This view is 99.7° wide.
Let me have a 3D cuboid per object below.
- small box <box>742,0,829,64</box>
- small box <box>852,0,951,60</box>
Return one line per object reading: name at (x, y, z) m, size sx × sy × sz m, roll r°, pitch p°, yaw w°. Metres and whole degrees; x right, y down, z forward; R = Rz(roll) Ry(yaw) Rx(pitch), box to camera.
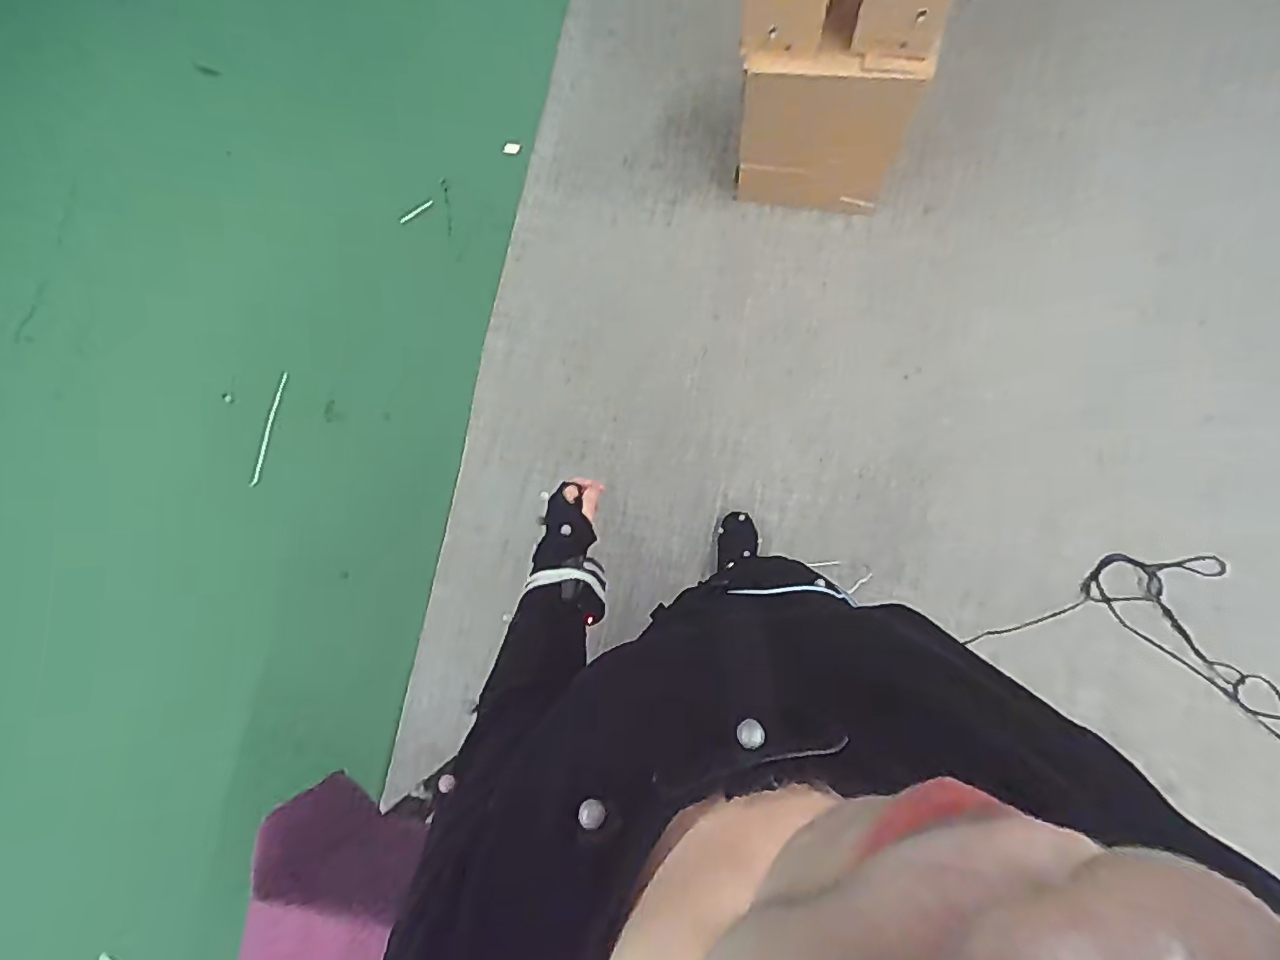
small box at (0.312, -1.029, 1.134) m, size 0.168 × 0.176 × 0.179 m, roll 10°, pitch 84°, yaw 7°
small box at (0.544, -1.003, 1.100) m, size 0.168 × 0.176 × 0.179 m, roll 13°, pitch 82°, yaw 10°
